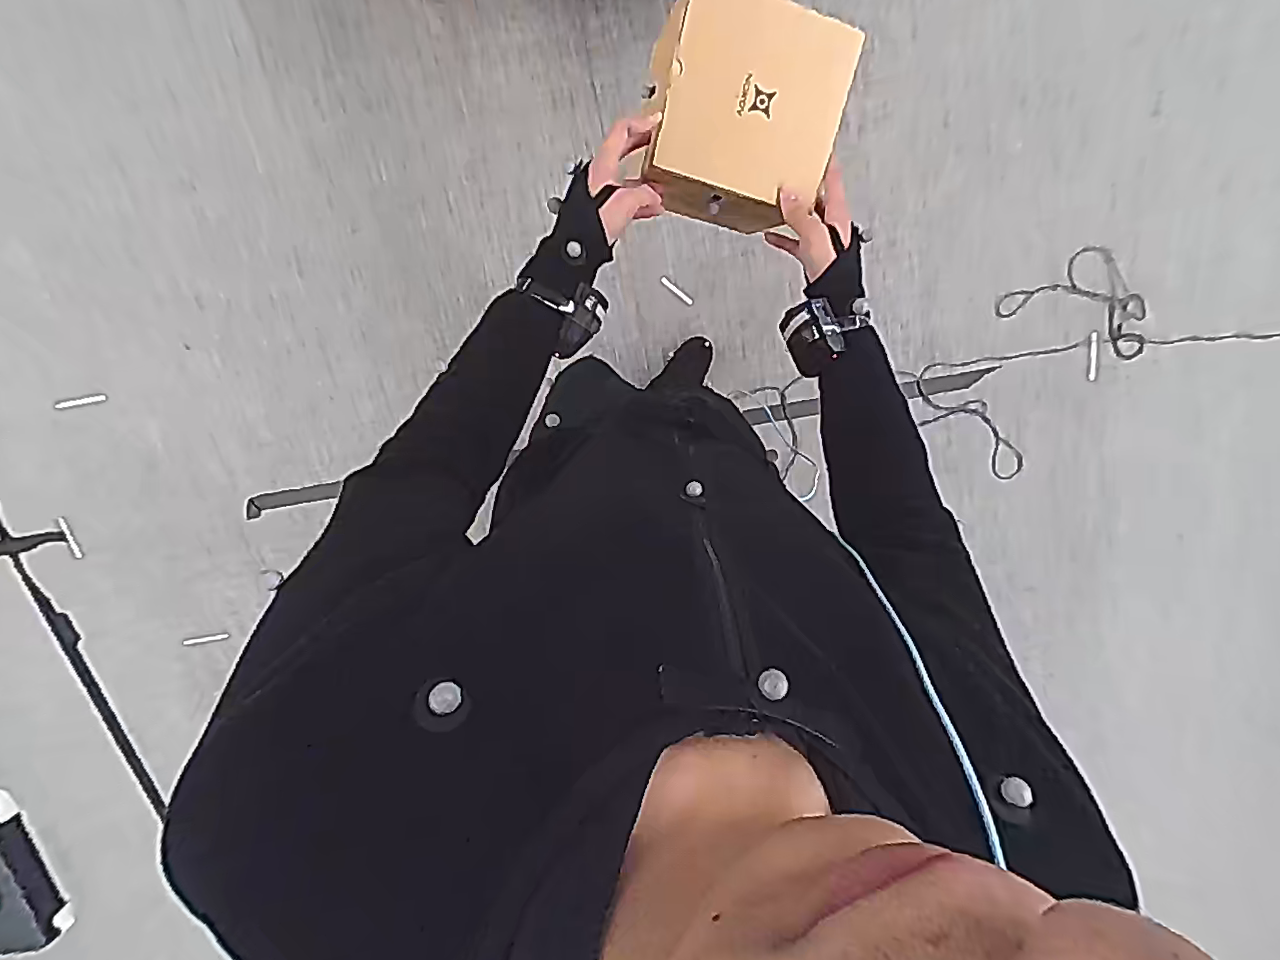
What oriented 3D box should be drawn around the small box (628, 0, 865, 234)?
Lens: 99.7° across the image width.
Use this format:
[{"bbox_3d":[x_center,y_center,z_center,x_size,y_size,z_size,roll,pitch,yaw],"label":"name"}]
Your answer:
[{"bbox_3d":[0.098,-0.377,0.583,0.179,0.176,0.168,10,106,-13],"label":"small box"}]
